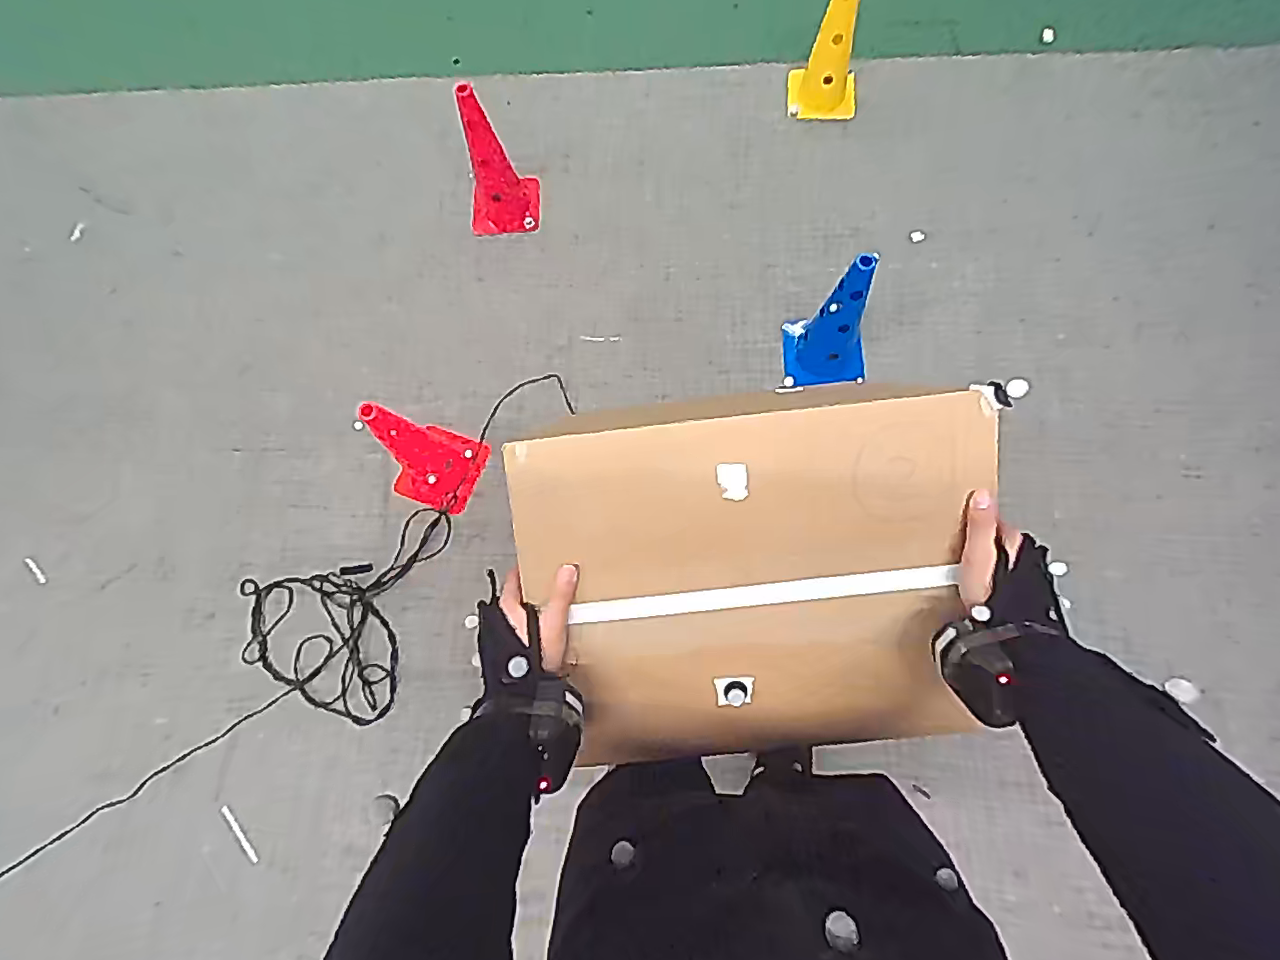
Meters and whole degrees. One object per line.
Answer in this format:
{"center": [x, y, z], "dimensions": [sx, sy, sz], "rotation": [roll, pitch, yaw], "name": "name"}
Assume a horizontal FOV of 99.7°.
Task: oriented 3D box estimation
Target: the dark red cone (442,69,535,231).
{"center": [-0.423, -0.882, 1.446], "dimensions": [0.202, 0.394, 0.201], "rotation": [-6, 68, 3], "name": "dark red cone"}

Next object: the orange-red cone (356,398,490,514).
{"center": [-0.519, -0.084, 1.213], "dimensions": [0.199, 0.360, 0.198], "rotation": [20, 74, 13], "name": "orange-red cone"}

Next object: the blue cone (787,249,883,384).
{"center": [0.465, -0.383, 1.240], "dimensions": [0.192, 0.380, 0.193], "rotation": [1, 72, 5], "name": "blue cone"}
